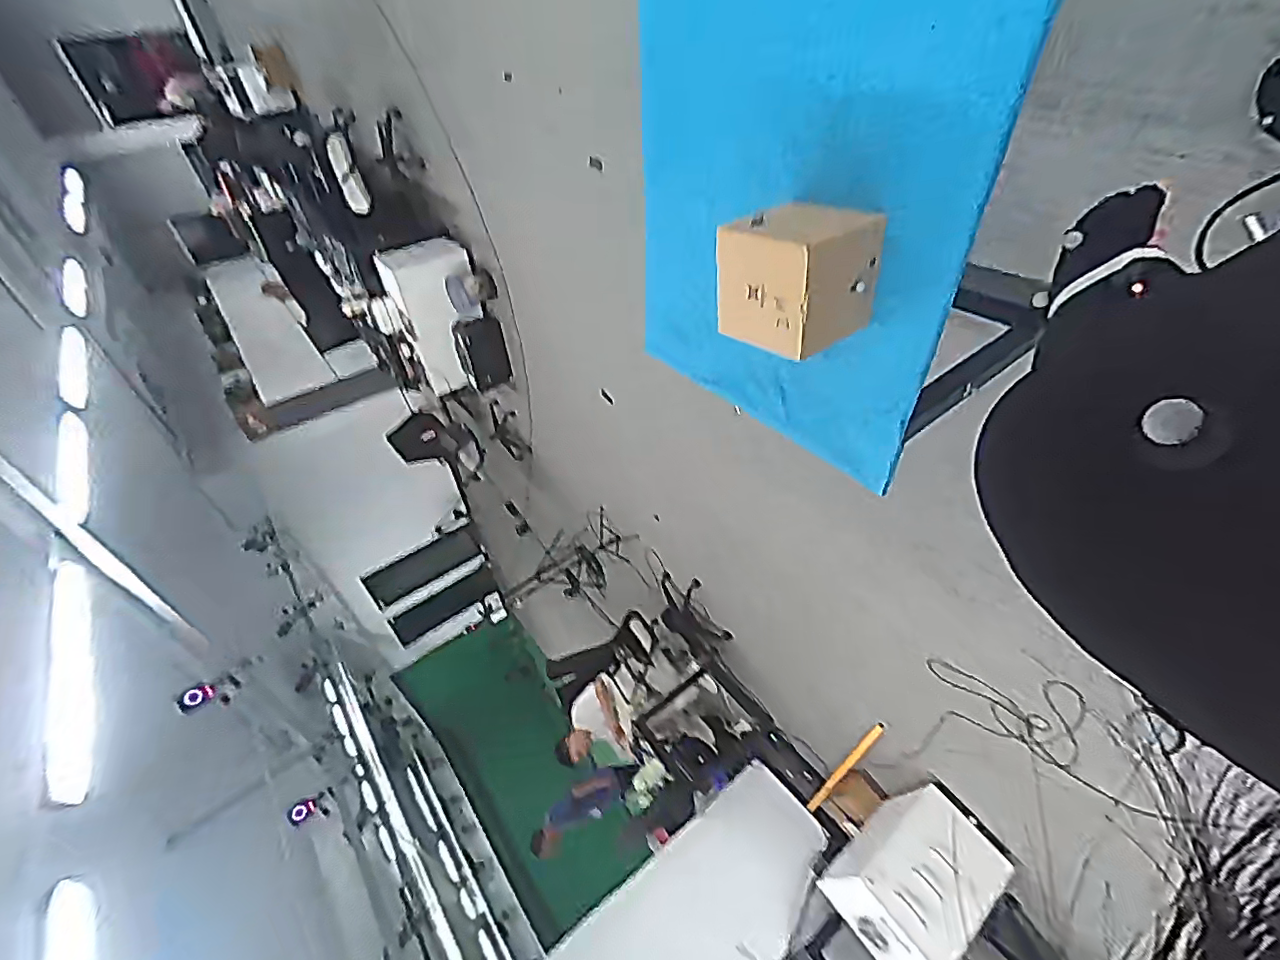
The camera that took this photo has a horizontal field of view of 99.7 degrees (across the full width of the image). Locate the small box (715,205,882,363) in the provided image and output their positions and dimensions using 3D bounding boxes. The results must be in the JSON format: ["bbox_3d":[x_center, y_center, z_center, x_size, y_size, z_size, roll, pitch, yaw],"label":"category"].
[{"bbox_3d":[0.239,-0.313,0.842,0.179,0.176,0.168,36,147,37],"label":"small box"}]
